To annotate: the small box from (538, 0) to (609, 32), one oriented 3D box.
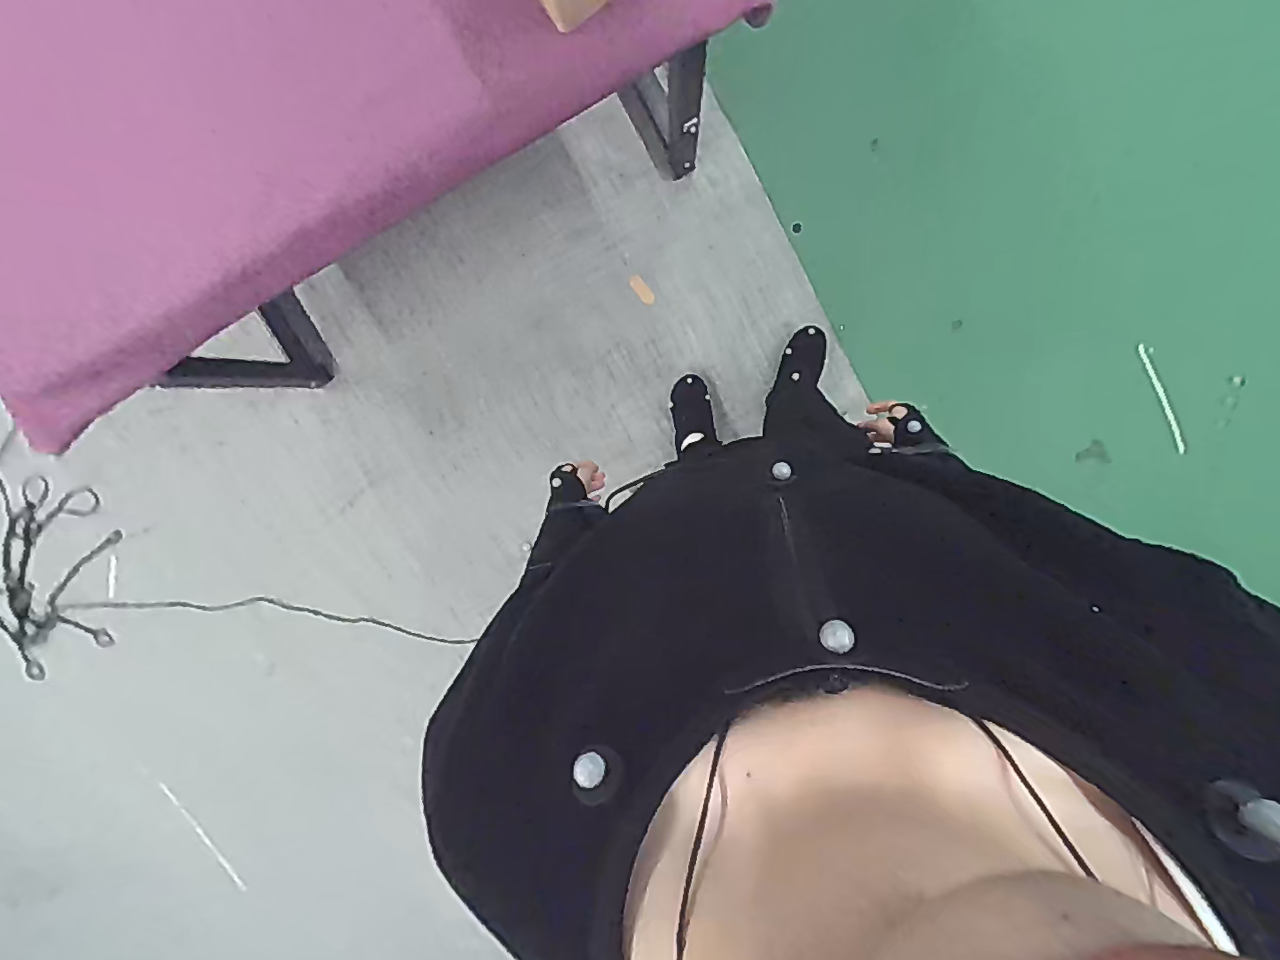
[{"bbox_3d":[-0.073,-0.658,0.584,0.179,0.176,0.168,-32,96,8],"label":"small box"}]
